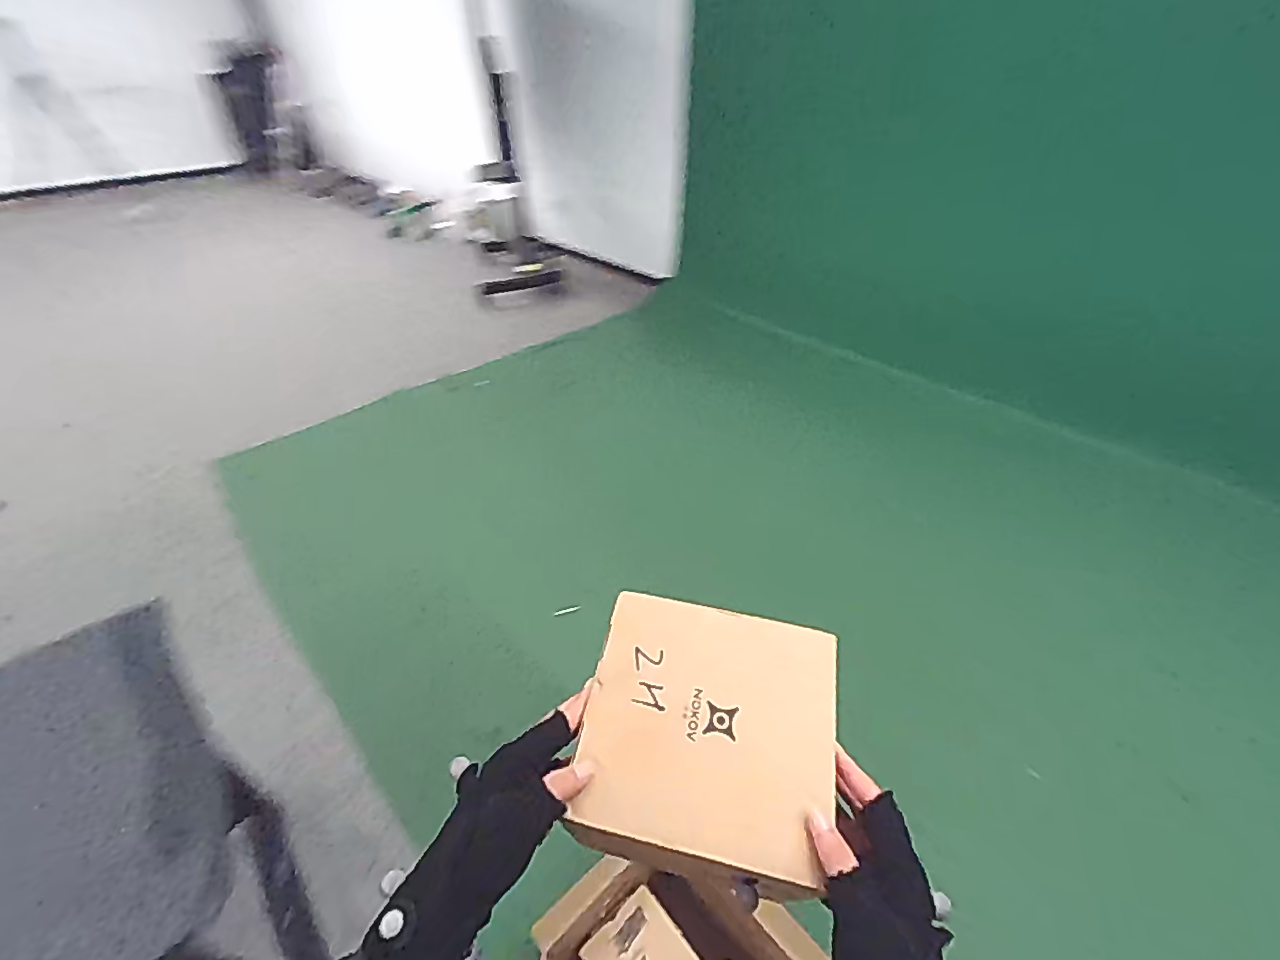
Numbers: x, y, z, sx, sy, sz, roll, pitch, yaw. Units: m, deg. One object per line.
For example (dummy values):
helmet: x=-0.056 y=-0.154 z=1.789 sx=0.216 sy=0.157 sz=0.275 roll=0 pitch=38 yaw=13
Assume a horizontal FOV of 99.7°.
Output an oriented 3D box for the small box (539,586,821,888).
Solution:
small box: x=0.037 y=0.212 z=0.440 sx=0.179 sy=0.176 sz=0.168 roll=9 pitch=51 yaw=8
